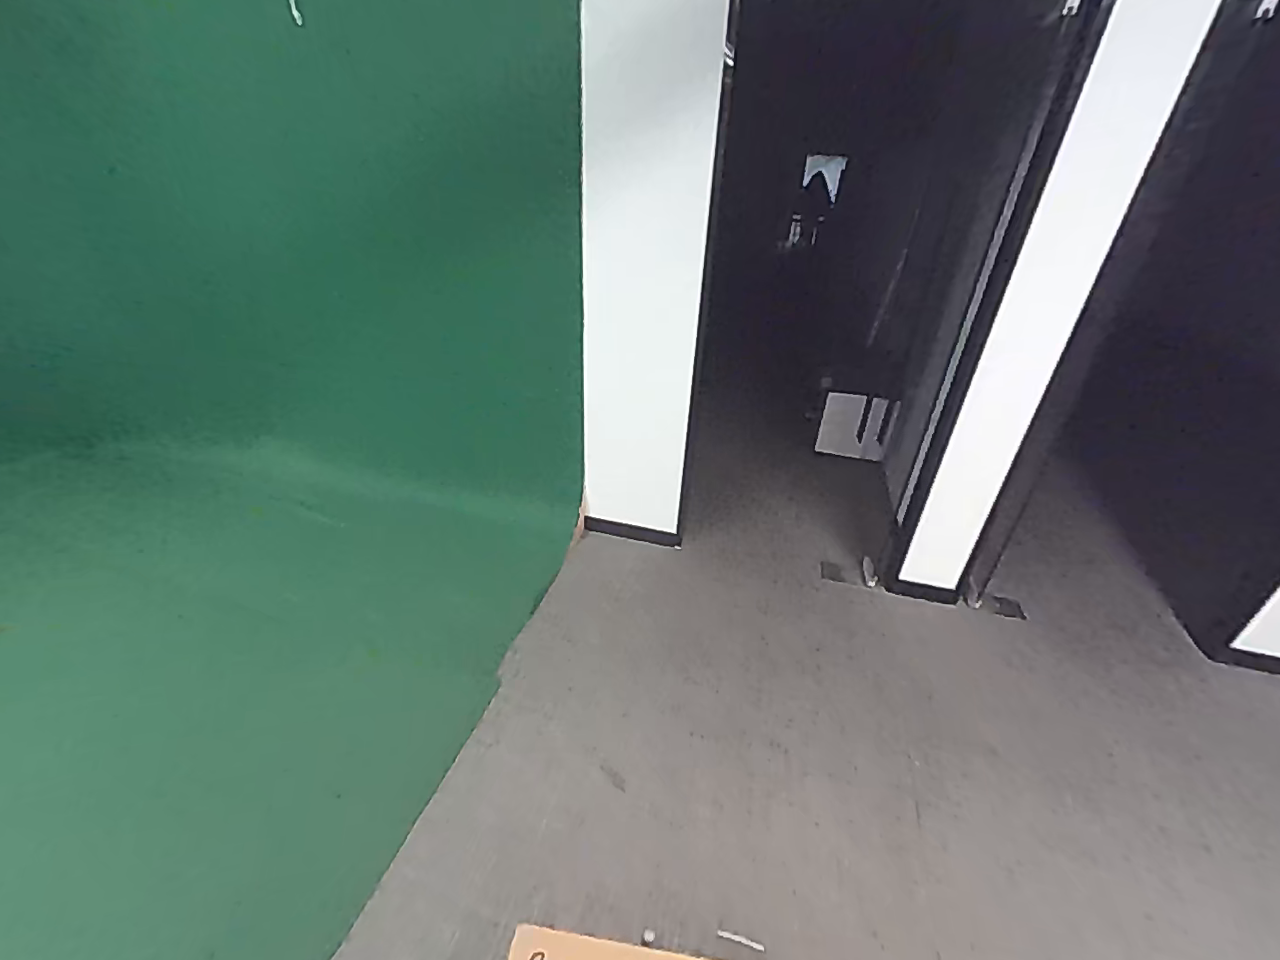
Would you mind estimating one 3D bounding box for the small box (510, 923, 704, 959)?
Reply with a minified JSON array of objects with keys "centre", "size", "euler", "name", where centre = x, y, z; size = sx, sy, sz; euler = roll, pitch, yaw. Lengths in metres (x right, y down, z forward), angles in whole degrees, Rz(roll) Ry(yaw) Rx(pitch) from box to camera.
[{"centre":[-0.025,0.457,0.390],"size":[0.168,0.176,0.179],"euler":[7,43,5],"name":"small box"}]
